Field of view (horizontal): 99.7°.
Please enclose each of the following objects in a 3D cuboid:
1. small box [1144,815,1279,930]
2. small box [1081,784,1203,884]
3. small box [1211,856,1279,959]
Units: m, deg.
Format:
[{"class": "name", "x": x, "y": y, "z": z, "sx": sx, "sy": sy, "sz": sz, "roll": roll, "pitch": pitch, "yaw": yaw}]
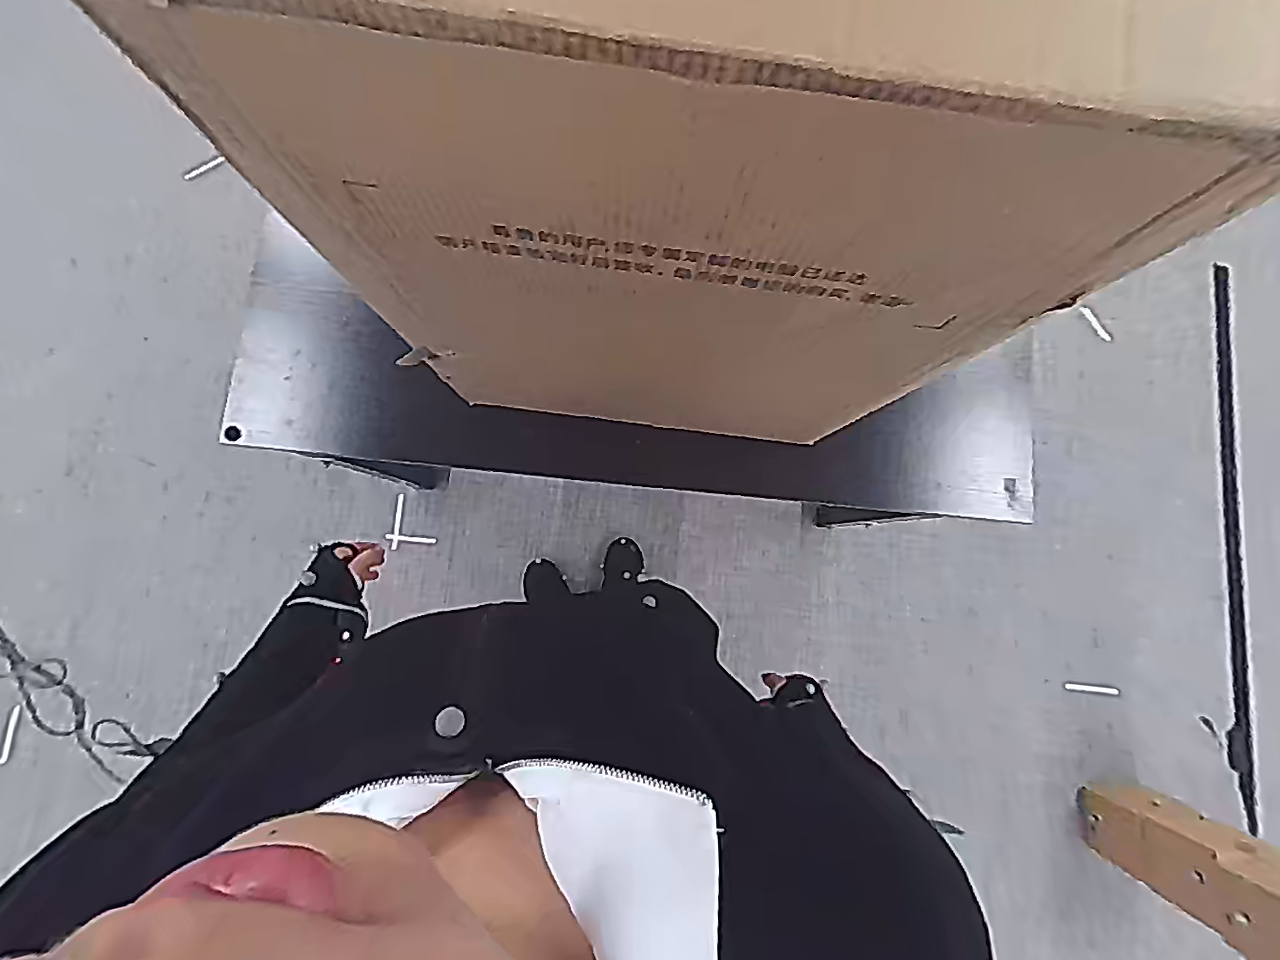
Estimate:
[{"class": "small box", "x": 1.316, "y": 0.897, "z": 1.243, "sx": 0.168, "sy": 0.176, "sz": 0.179, "roll": 1, "pitch": 83, "yaw": -2}, {"class": "small box", "x": 1.306, "y": 0.913, "z": 1.407, "sx": 0.179, "sy": 0.176, "sz": 0.168, "roll": -1, "pitch": 82, "yaw": -2}, {"class": "small box", "x": 1.319, "y": 0.885, "z": 1.079, "sx": 0.179, "sy": 0.176, "sz": 0.168, "roll": -2, "pitch": 82, "yaw": -3}]
